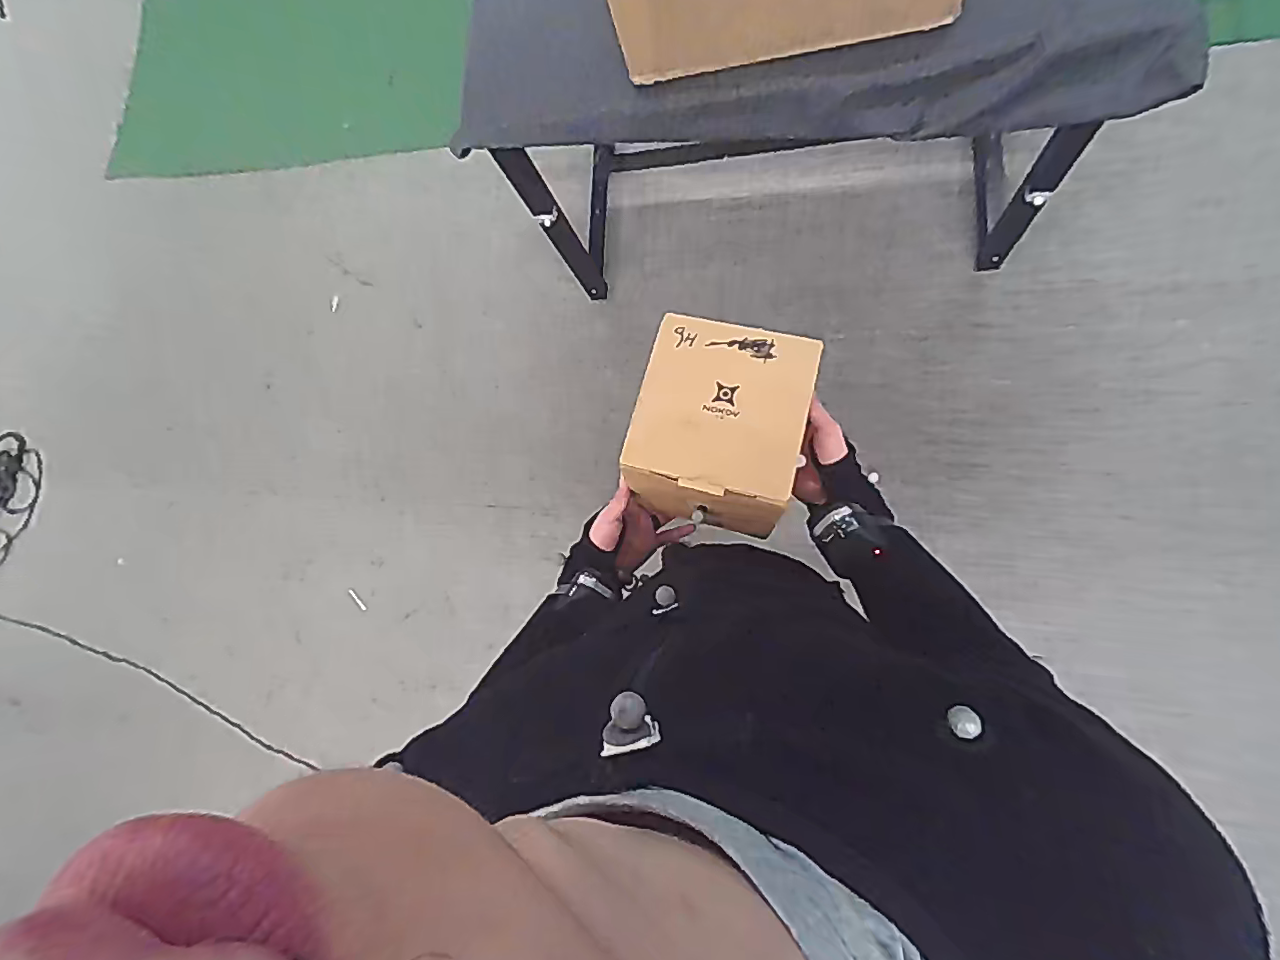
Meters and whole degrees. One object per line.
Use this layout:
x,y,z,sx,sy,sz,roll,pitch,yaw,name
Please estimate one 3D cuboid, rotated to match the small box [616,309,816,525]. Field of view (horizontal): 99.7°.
0.085,-0.059,0.609,0.168,0.176,0.179,14,77,10,small box
